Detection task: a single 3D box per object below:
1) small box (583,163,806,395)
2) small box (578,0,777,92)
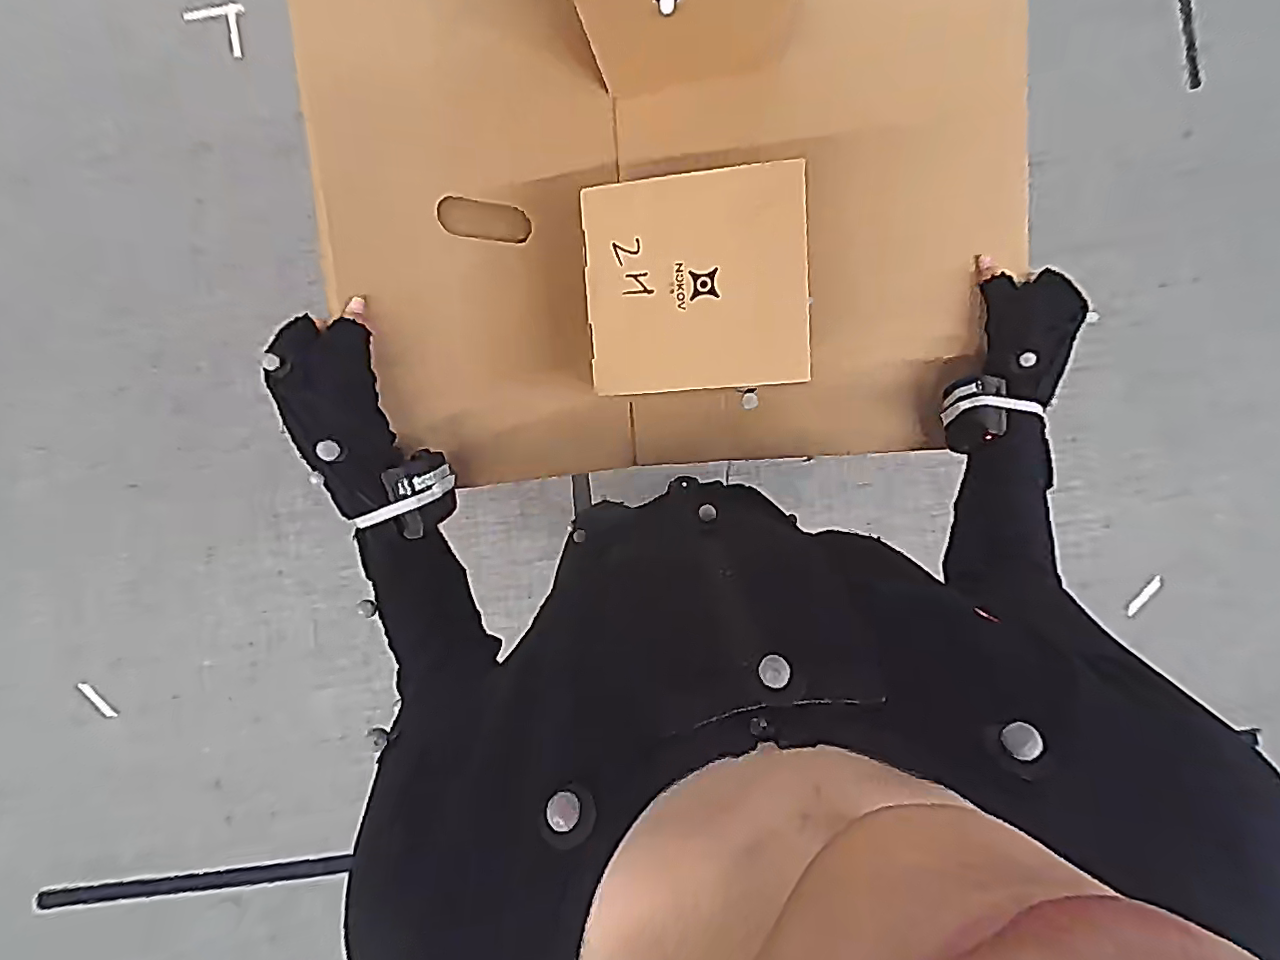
[{"bbox_3d":[0.055,-0.169,0.512,0.179,0.176,0.168,-2,96,10],"label":"small box"},{"bbox_3d":[0.030,-0.484,0.478,0.179,0.176,0.168,-4,96,10],"label":"small box"}]
